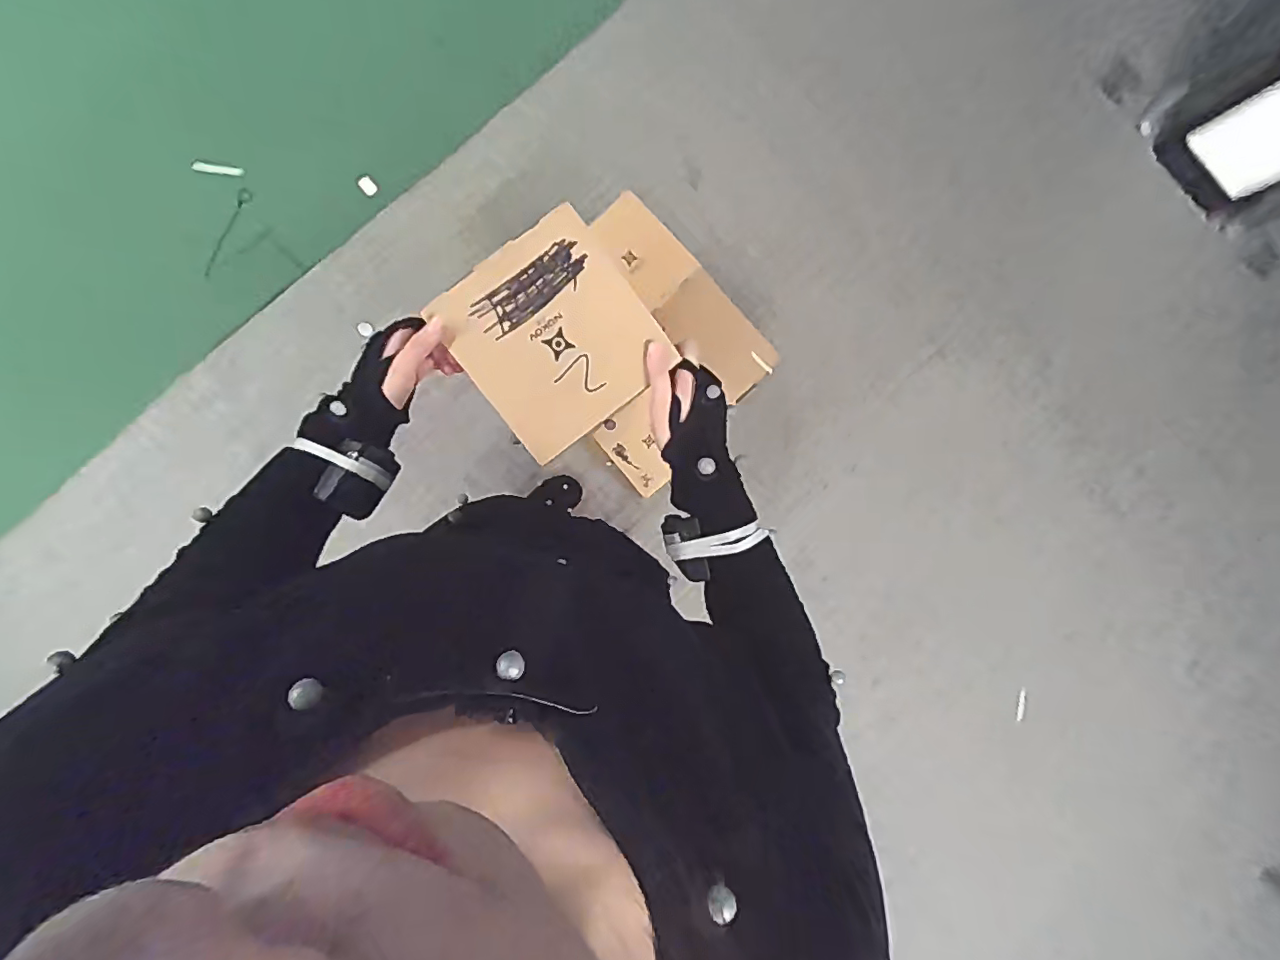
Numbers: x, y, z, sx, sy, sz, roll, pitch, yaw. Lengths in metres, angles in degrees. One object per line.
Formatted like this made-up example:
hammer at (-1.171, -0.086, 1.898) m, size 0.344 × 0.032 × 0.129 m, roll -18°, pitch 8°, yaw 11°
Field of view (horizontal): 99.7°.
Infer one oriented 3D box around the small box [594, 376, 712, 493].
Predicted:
small box at (0.017, -0.091, 1.129) m, size 0.179 × 0.176 × 0.168 m, roll -39°, pitch 95°, yaw -5°

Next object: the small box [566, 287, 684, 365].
small box at (-0.036, -0.359, 1.127) m, size 0.179 × 0.176 × 0.168 m, roll 45°, pitch 84°, yaw -4°

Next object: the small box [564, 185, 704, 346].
small box at (-0.019, -0.368, 0.965) m, size 0.168 × 0.176 × 0.179 m, roll -44°, pitch 95°, yaw -6°
